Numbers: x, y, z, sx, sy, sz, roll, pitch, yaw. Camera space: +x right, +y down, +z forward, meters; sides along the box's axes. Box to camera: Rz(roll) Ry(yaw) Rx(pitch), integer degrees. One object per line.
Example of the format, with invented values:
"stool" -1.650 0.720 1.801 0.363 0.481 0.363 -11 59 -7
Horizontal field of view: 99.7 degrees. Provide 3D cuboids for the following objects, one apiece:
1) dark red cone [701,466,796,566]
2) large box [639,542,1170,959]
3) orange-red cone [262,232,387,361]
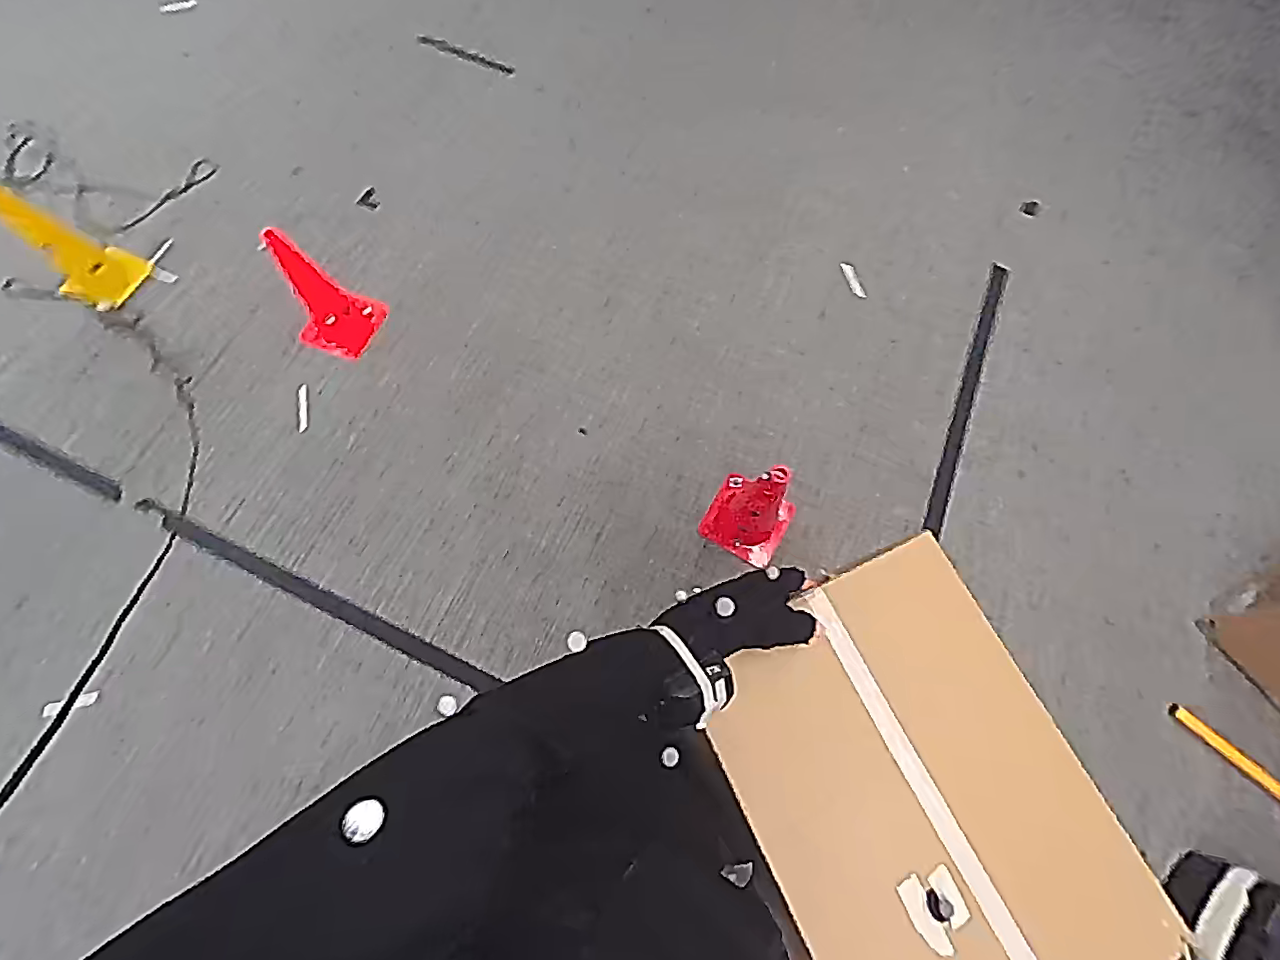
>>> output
"dark red cone" 0.282 0.046 1.235 0.202 0.394 0.201 29 74 9
"large box" 0.234 0.340 0.632 0.320 0.320 0.408 -22 74 -15
"orange-red cone" -0.876 -0.511 1.440 0.199 0.360 0.198 20 71 8
